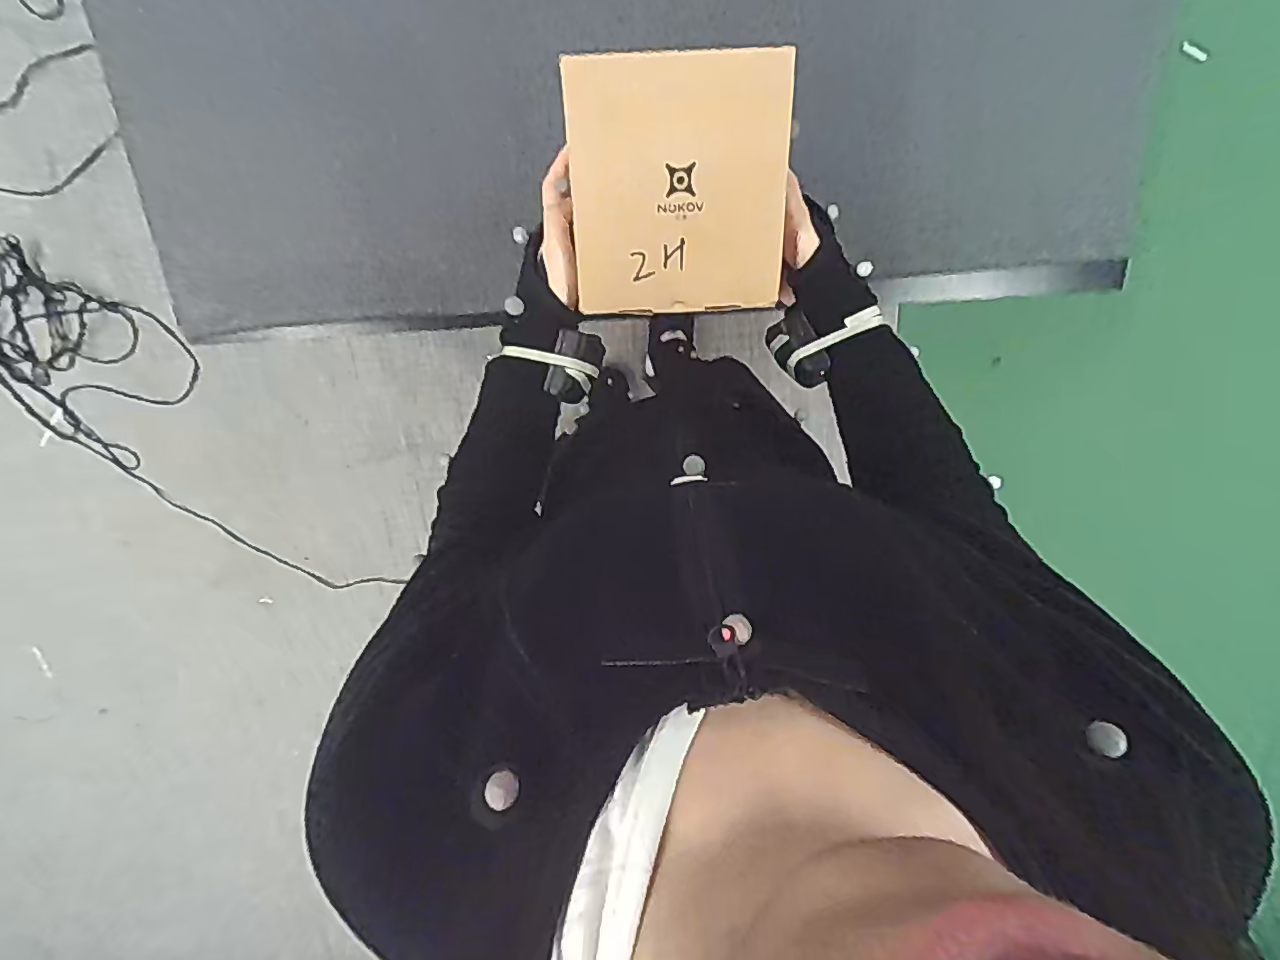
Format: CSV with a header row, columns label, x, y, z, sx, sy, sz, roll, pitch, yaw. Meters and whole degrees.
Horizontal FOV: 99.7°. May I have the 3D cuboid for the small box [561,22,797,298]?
label,x,y,z,sx,sy,sz,roll,pitch,yaw
small box,0.025,-0.259,0.471,0.168,0.176,0.179,-2,114,-1
